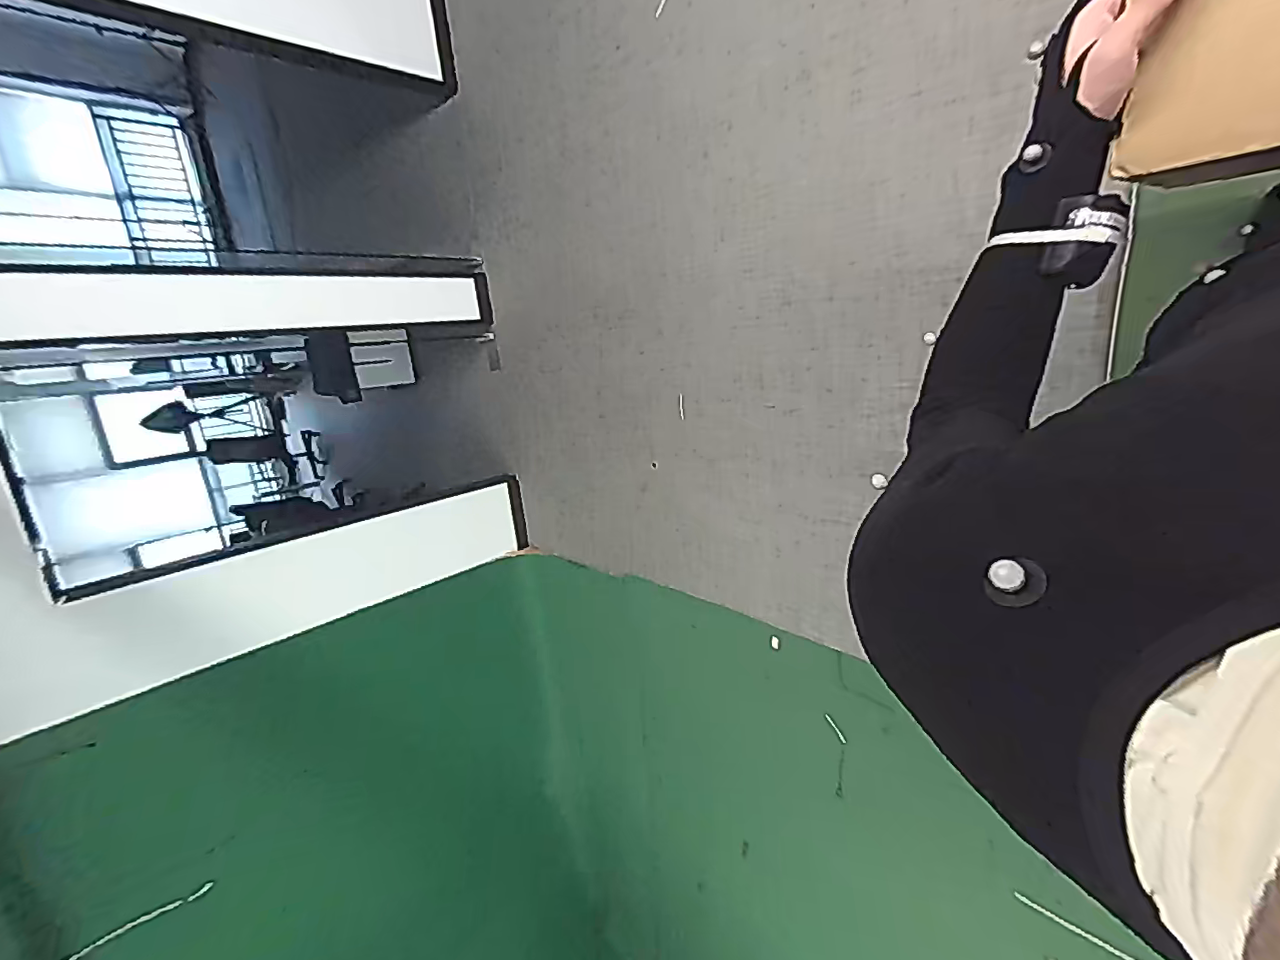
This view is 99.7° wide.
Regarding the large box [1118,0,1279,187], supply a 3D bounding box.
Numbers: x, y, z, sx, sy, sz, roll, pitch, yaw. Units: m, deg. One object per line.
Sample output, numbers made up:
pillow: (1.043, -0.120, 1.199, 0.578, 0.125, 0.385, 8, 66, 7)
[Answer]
large box: (0.602, -0.417, 0.348, 0.408, 0.320, 0.320, 10, 115, 46)
